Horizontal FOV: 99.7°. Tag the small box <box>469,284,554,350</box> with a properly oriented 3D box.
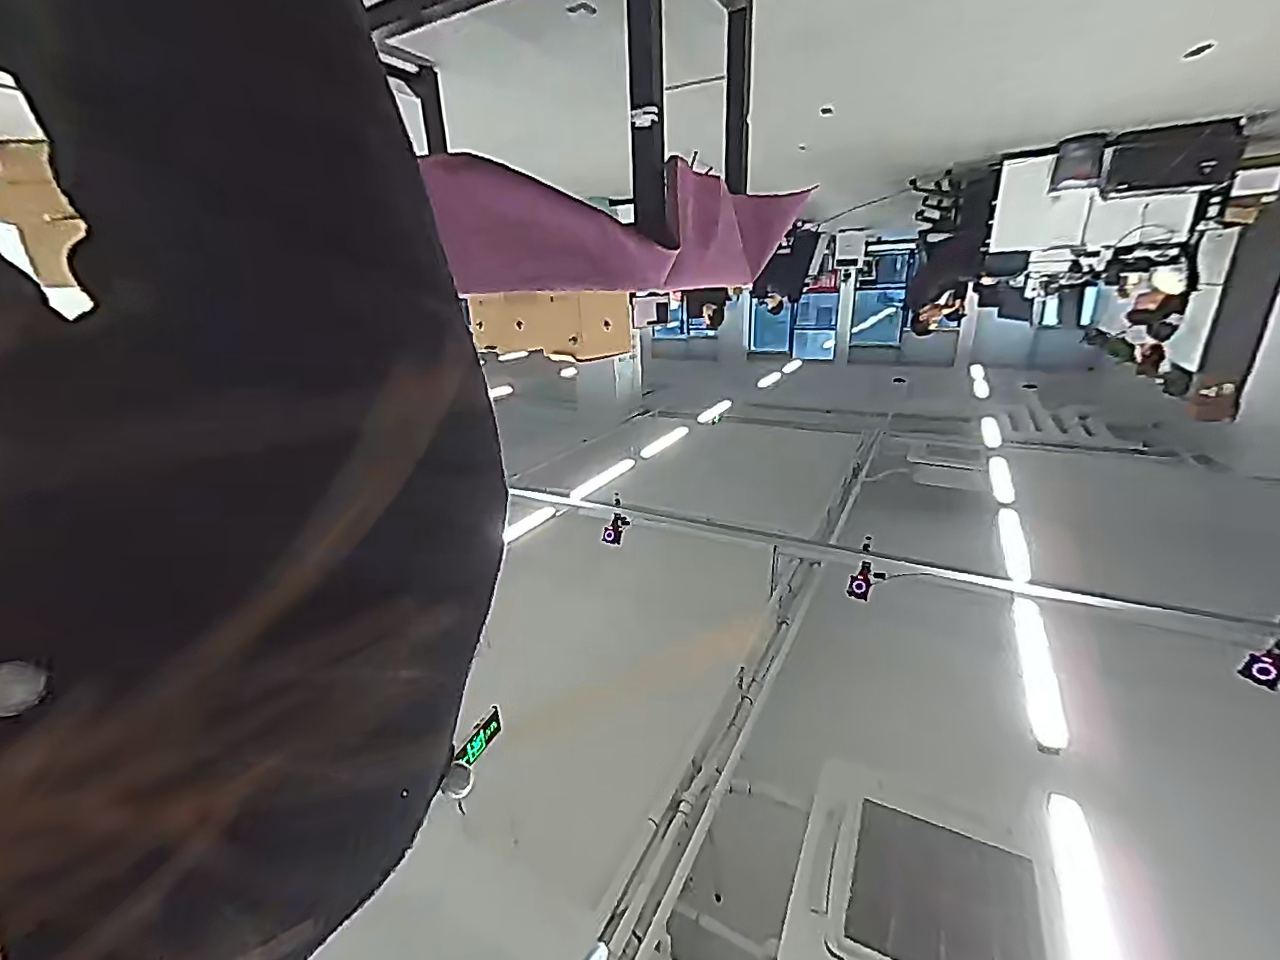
[{"bbox_3d":[-0.380,-0.480,1.588,0.168,0.176,0.179,13,-154,34],"label":"small box"}]
